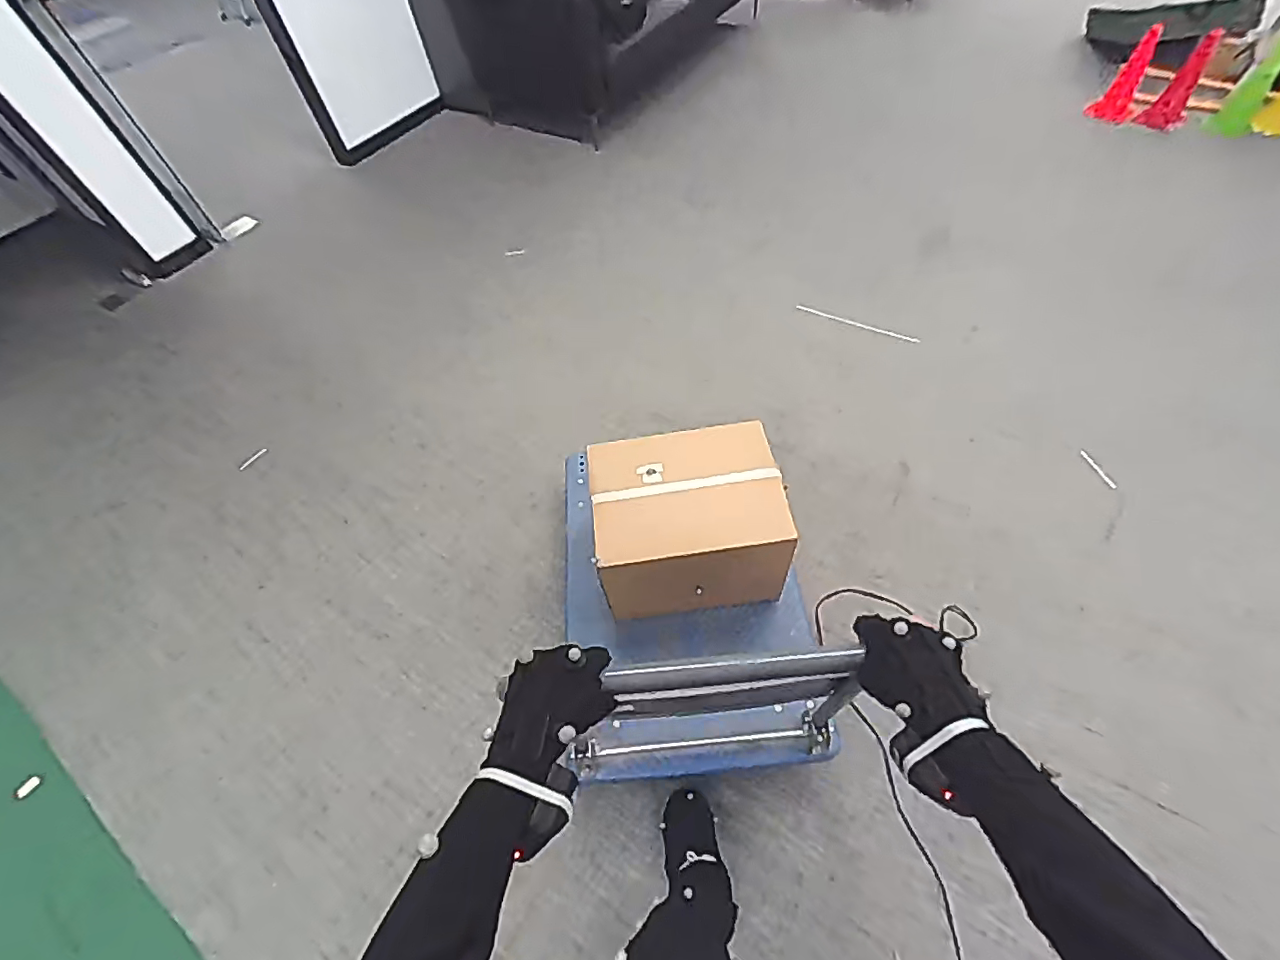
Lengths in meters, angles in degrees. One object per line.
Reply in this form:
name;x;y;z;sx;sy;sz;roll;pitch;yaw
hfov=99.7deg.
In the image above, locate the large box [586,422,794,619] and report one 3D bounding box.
large box;0.106;0.106;1.276;0.408;0.320;0.320;-9;55;0
